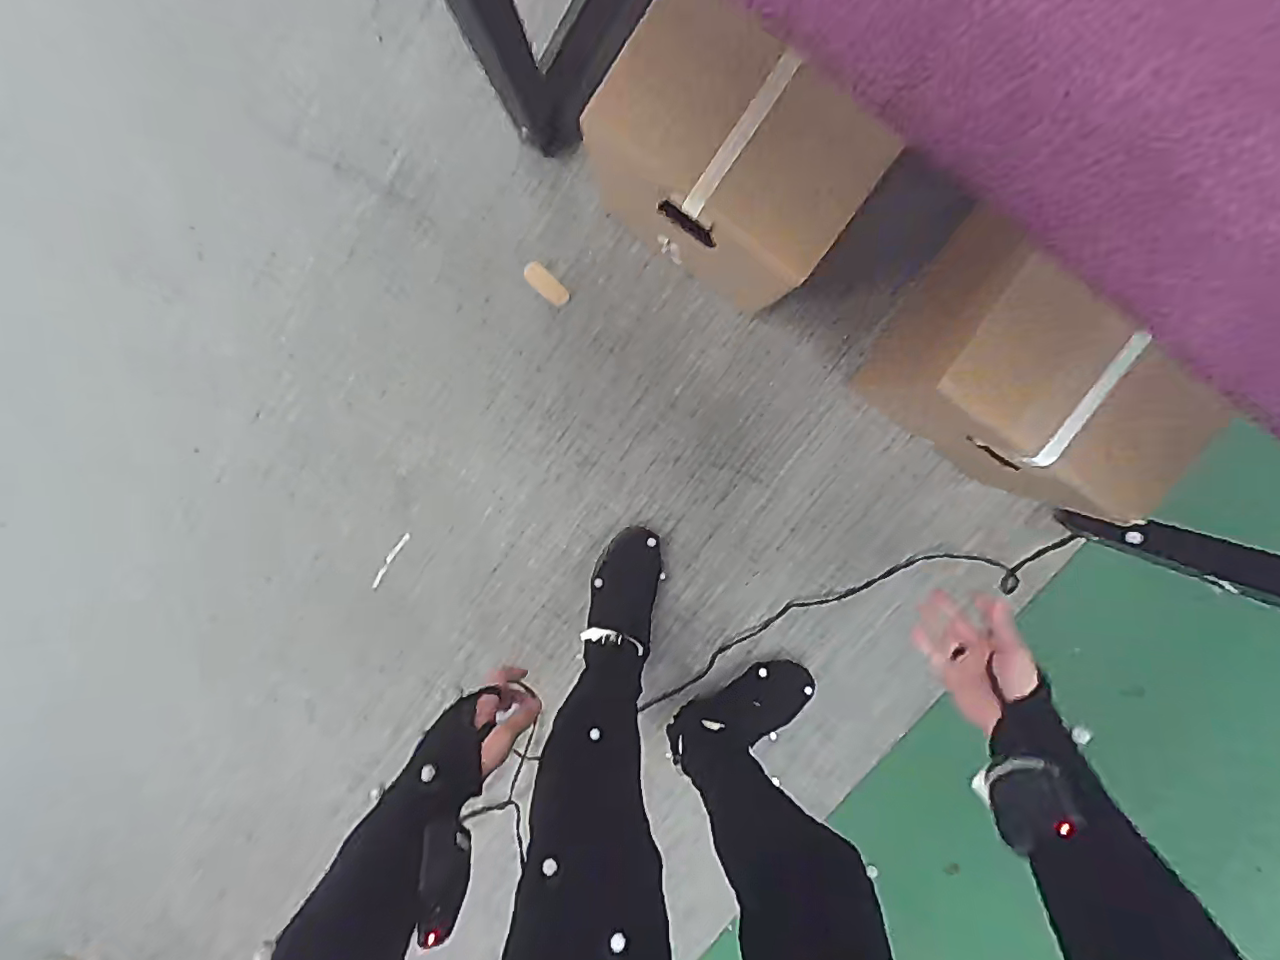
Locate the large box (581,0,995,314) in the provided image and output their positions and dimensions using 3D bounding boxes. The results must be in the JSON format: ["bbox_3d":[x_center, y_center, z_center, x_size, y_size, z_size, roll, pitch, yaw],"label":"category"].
[{"bbox_3d":[0.169,-0.495,0.724,0.320,0.320,0.408,35,98,-5],"label":"large box"}]
